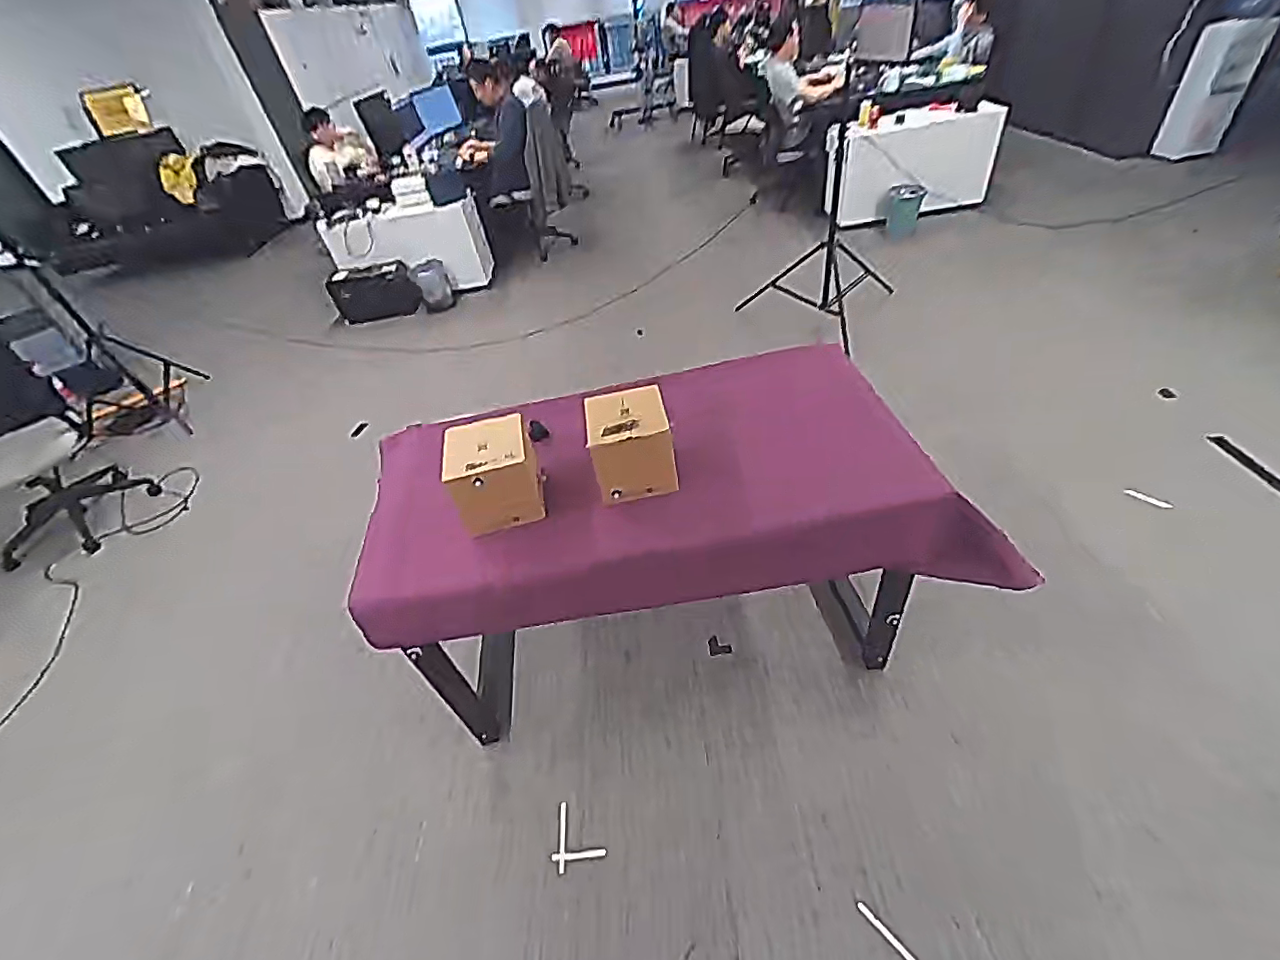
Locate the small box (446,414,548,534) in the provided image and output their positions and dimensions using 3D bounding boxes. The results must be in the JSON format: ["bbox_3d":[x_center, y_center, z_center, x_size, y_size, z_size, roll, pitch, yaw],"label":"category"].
[{"bbox_3d":[-0.304,-0.014,1.166,0.168,0.176,0.179,-14,41,-4],"label":"small box"}]

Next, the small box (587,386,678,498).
[{"bbox_3d":[-0.015,-0.077,1.175,0.168,0.176,0.179,-10,41,0],"label":"small box"}]
